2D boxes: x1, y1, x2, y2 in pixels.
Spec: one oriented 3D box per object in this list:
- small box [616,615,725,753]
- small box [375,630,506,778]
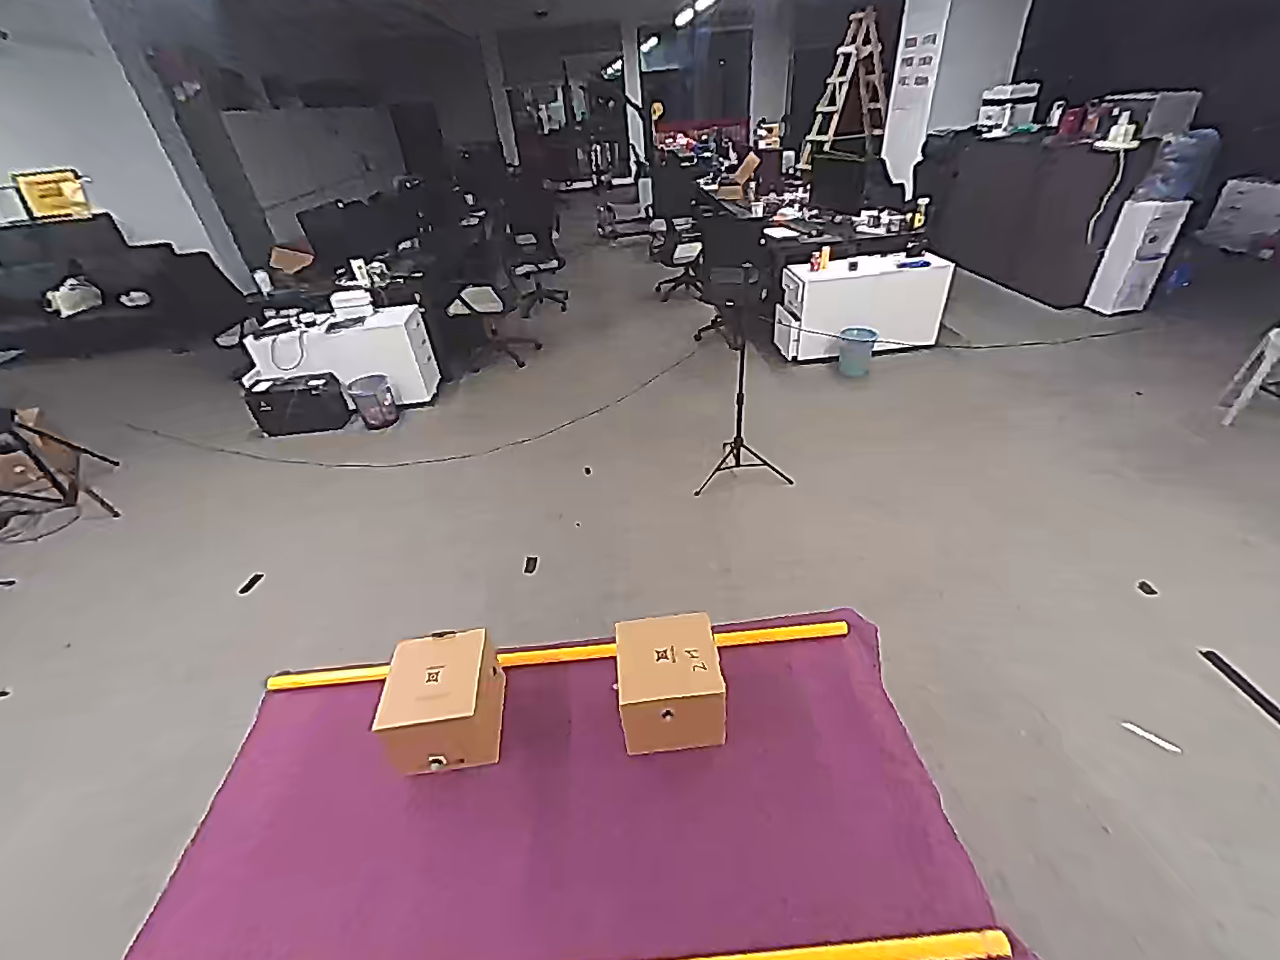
[{"bbox_3d":[0.054,0.369,0.973,0.179,0.176,0.168,-6,37,-1],"label":"small box"},{"bbox_3d":[-0.346,0.403,0.979,0.168,0.176,0.179,-8,36,-2],"label":"small box"}]
